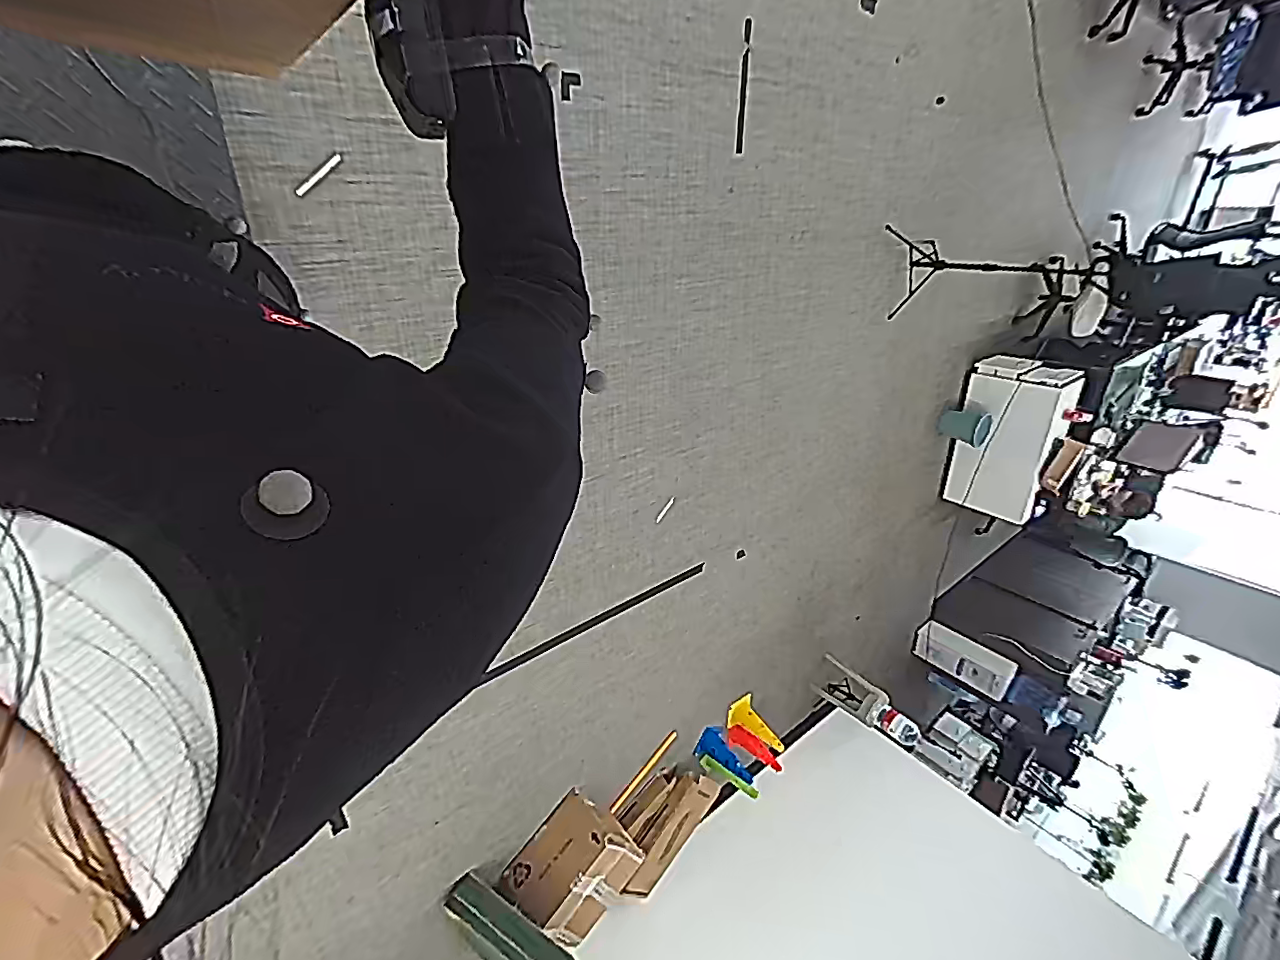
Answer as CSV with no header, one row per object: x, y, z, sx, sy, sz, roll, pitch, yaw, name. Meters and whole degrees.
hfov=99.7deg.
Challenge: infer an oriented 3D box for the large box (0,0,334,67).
-0.382,-0.404,0.204,0.408,0.320,0.320,-17,123,-36,large box
